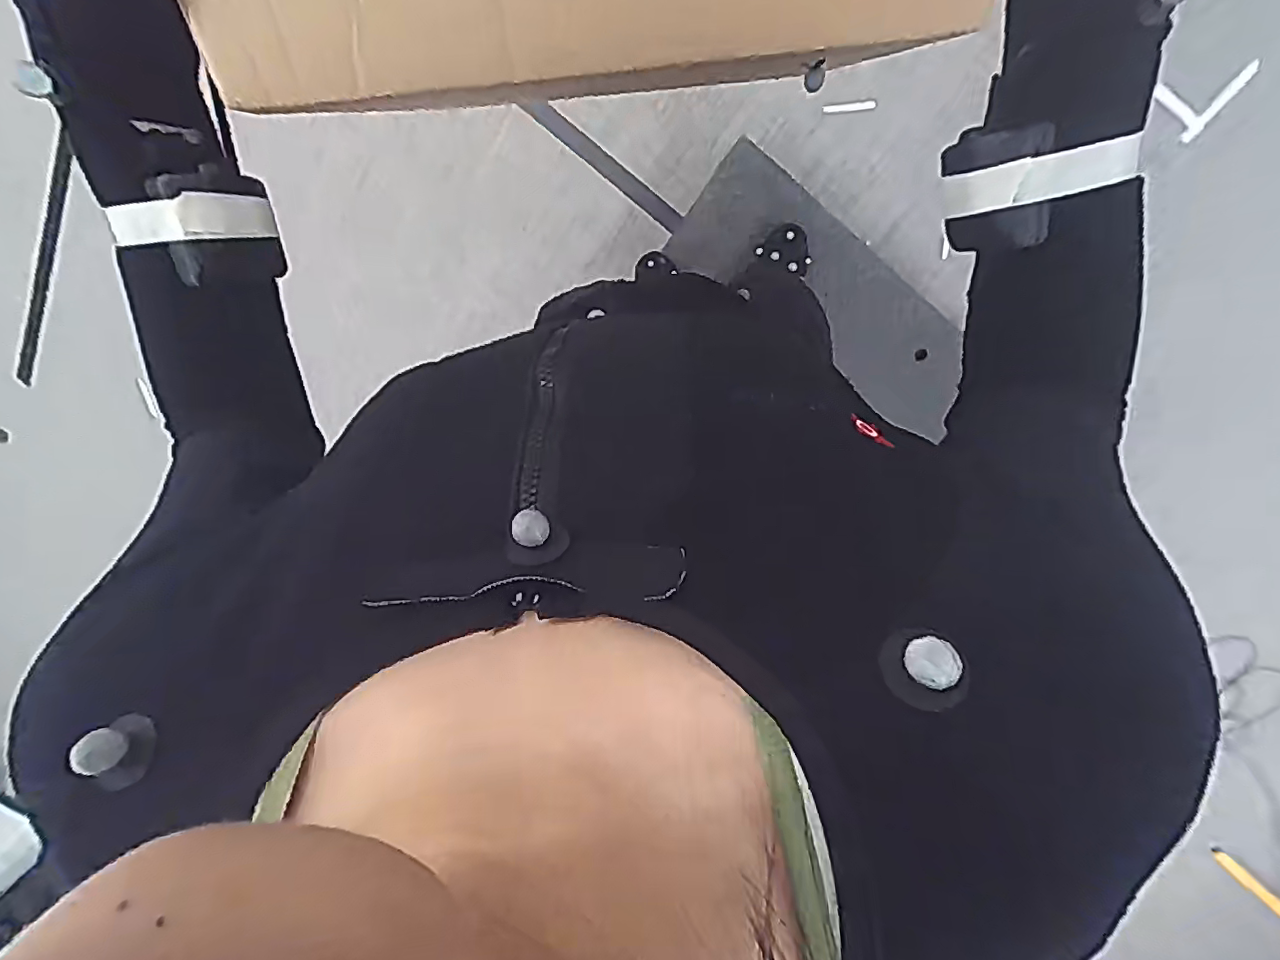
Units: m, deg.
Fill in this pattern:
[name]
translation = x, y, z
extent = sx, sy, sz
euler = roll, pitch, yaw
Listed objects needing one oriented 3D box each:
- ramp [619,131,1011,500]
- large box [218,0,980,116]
[ramp]
translation = 0.484, -0.359, 1.432
extent = 0.991, 0.206, 0.509
euler = 34, 112, -7
[large box]
translation = -0.027, -0.433, 0.333
extent = 0.408, 0.320, 0.320
euler = -2, 124, 5
